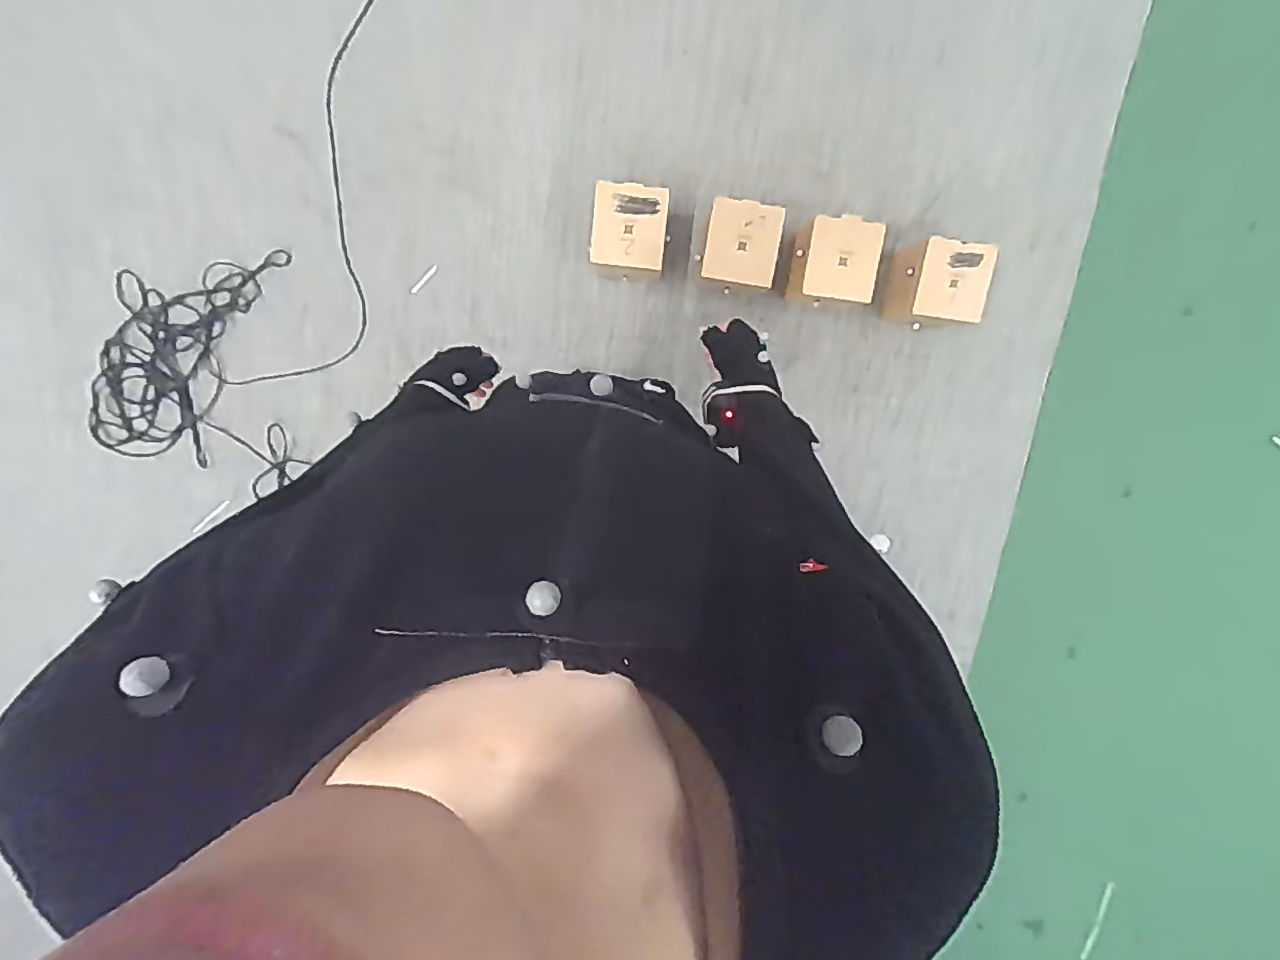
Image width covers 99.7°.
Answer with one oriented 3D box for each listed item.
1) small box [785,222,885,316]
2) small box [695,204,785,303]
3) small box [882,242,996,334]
[{"bbox_3d":[0.461,-0.503,1.311,0.168,0.176,0.179,6,100,-3],"label":"small box"},{"bbox_3d":[0.231,-0.533,1.298,0.168,0.176,0.179,8,100,-3],"label":"small box"},{"bbox_3d":[0.721,-0.462,1.323,0.168,0.176,0.179,7,101,-3],"label":"small box"}]
